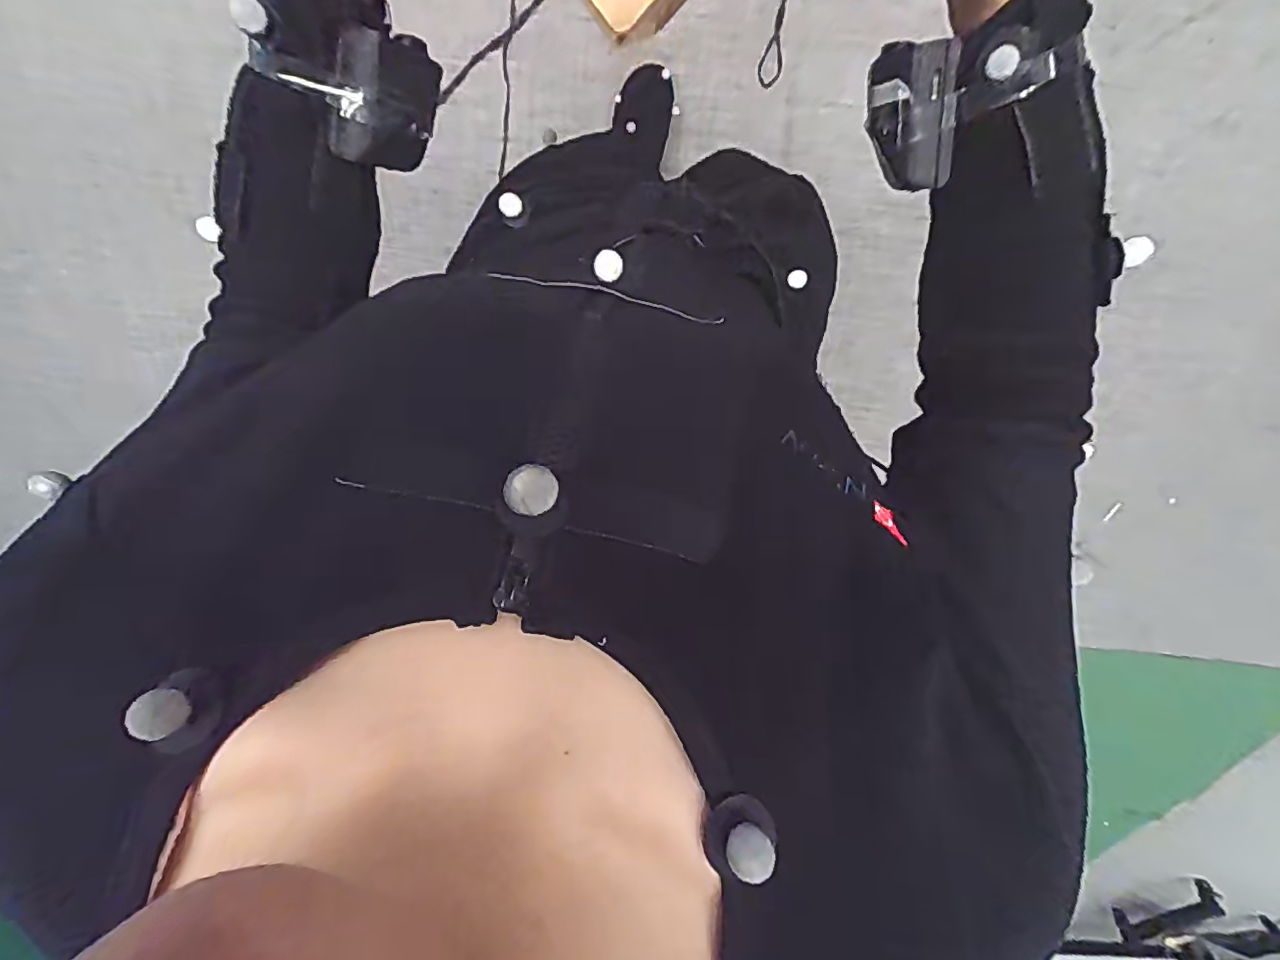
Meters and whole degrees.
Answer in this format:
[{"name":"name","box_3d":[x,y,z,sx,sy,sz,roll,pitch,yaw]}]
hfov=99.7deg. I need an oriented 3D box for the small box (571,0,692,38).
[{"name":"small box","box_3d":[0.010,-0.285,0.166,0.179,0.176,0.168,-32,120,29]}]
